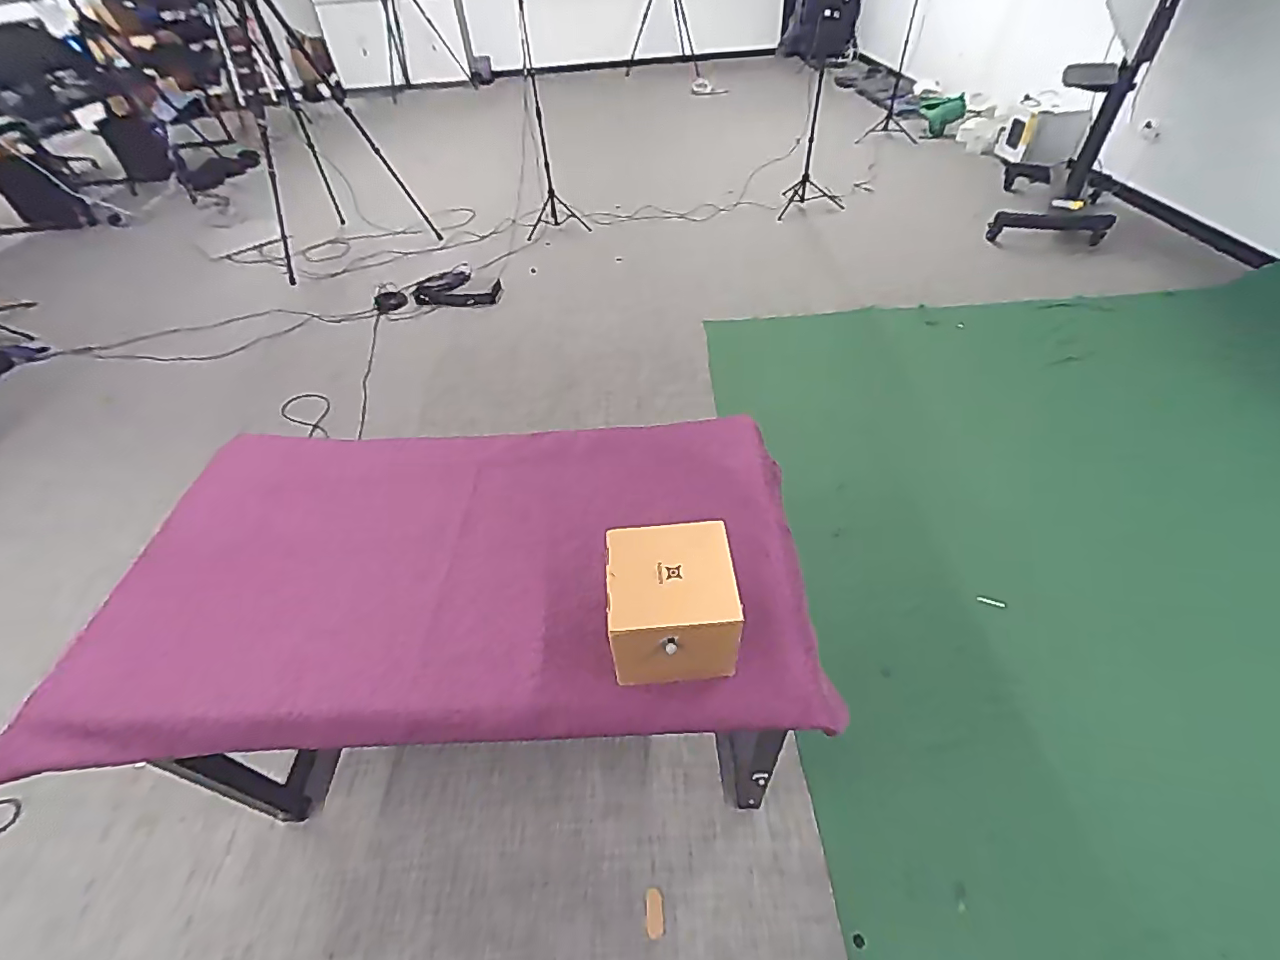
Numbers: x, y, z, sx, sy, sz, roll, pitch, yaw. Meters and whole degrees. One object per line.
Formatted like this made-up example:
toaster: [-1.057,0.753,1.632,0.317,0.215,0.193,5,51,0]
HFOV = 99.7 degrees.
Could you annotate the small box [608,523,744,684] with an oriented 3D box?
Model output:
small box: [0.050,0.186,0.802,0.179,0.176,0.168,-7,47,2]
